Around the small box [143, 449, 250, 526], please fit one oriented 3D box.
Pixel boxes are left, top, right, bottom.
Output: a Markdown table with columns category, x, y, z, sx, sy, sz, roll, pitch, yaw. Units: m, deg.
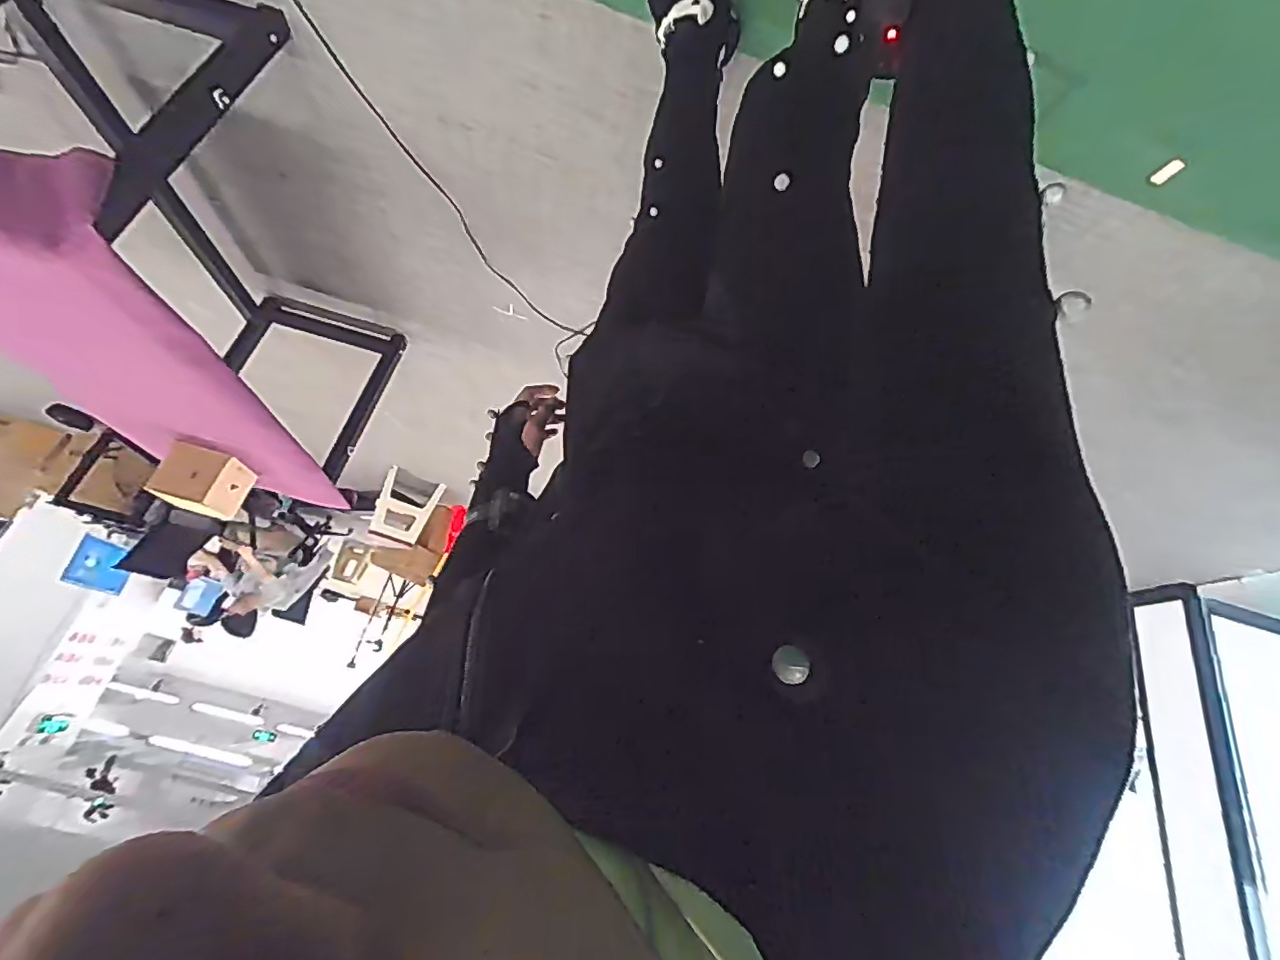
| category | x | y | z | sx | sy | sz | roll | pitch | yaw |
| --- | --- | --- | --- | --- | --- | --- | --- | --- | --- |
| small box | -1.355 | 0.023 | 1.675 | 0.179 | 0.176 | 0.168 | 15 | 155 | -3 |
